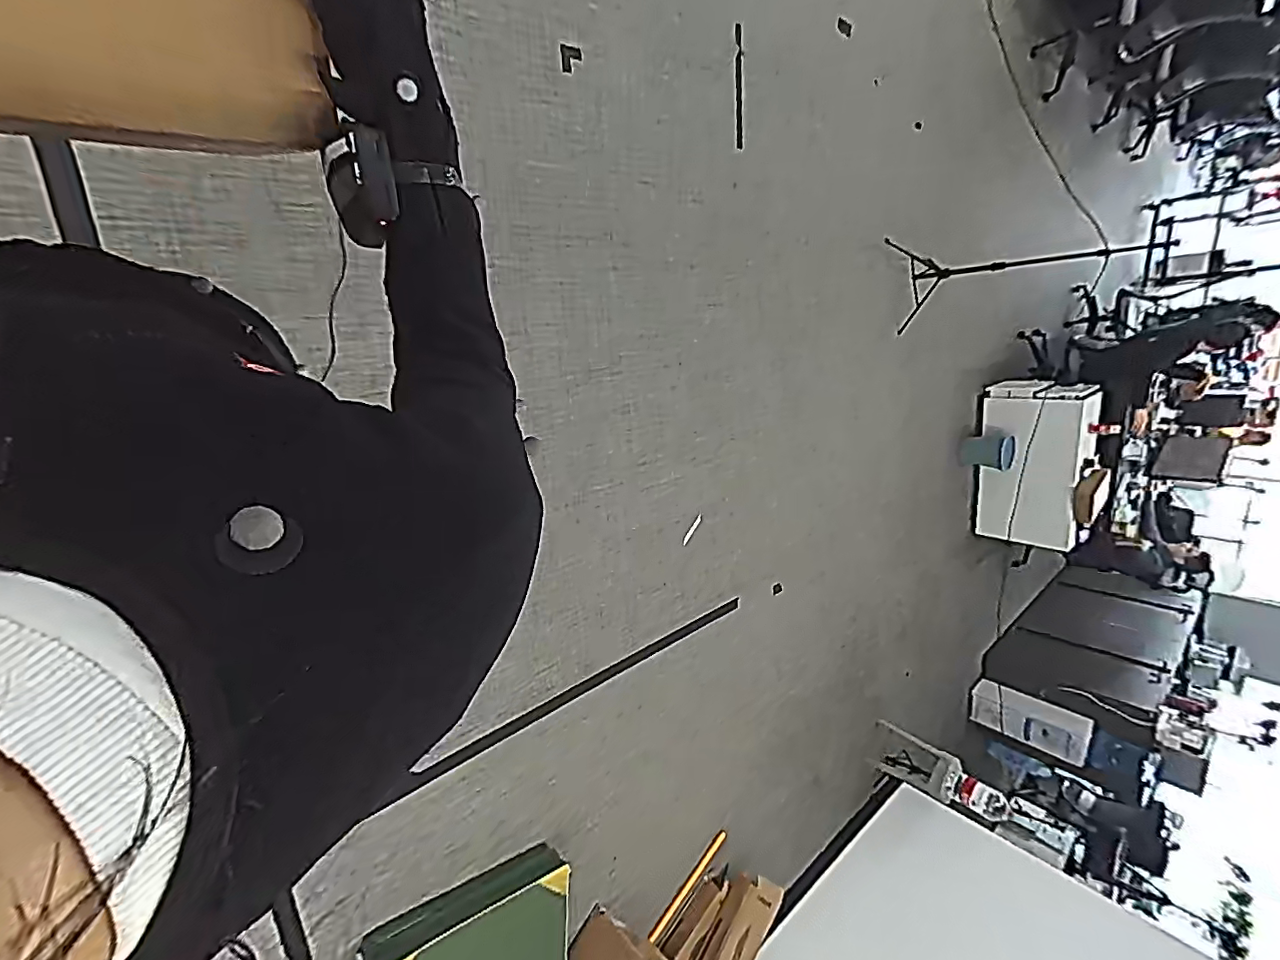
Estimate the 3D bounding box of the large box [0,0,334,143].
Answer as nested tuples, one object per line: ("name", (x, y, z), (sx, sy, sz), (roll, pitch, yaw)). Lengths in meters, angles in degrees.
("large box", (-0.460, -0.391, 0.304), (0.408, 0.320, 0.320), (-19, 126, -37))
